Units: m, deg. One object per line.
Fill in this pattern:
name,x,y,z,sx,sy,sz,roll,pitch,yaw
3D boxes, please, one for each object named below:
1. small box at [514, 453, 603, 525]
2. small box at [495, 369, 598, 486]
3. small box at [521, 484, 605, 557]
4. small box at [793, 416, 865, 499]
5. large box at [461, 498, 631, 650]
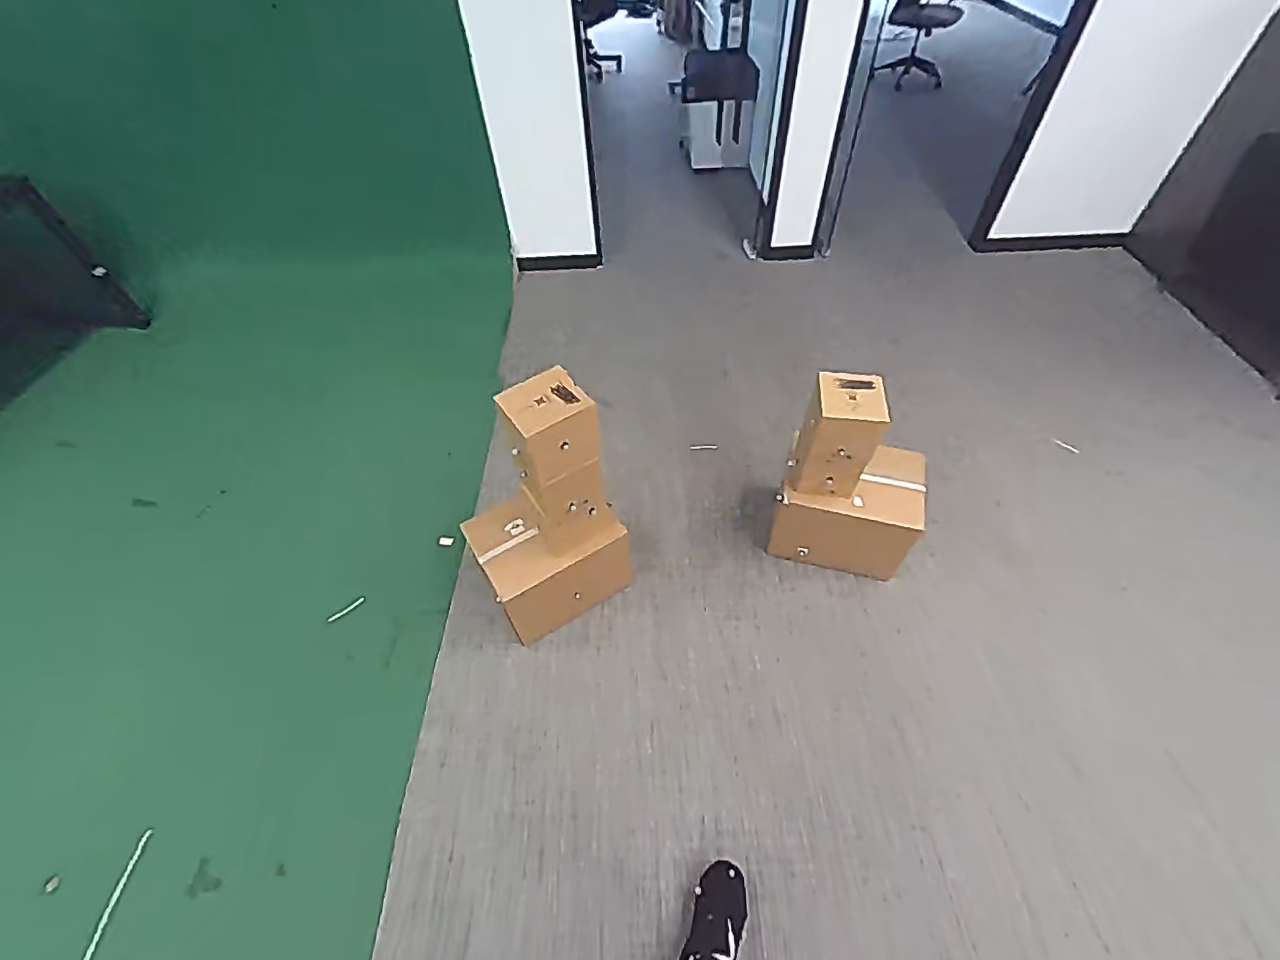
small box,-0.209,-0.019,1.384,0.168,0.176,0.179,-28,56,-18
small box,-0.209,-0.121,1.256,0.179,0.176,0.168,-30,55,-18
small box,-0.209,0.080,1.513,0.179,0.176,0.168,-29,55,-20
small box,0.554,-0.063,1.603,0.168,0.176,0.179,7,52,7
large box,-0.278,0.250,1.695,0.408,0.320,0.320,-29,54,-19
